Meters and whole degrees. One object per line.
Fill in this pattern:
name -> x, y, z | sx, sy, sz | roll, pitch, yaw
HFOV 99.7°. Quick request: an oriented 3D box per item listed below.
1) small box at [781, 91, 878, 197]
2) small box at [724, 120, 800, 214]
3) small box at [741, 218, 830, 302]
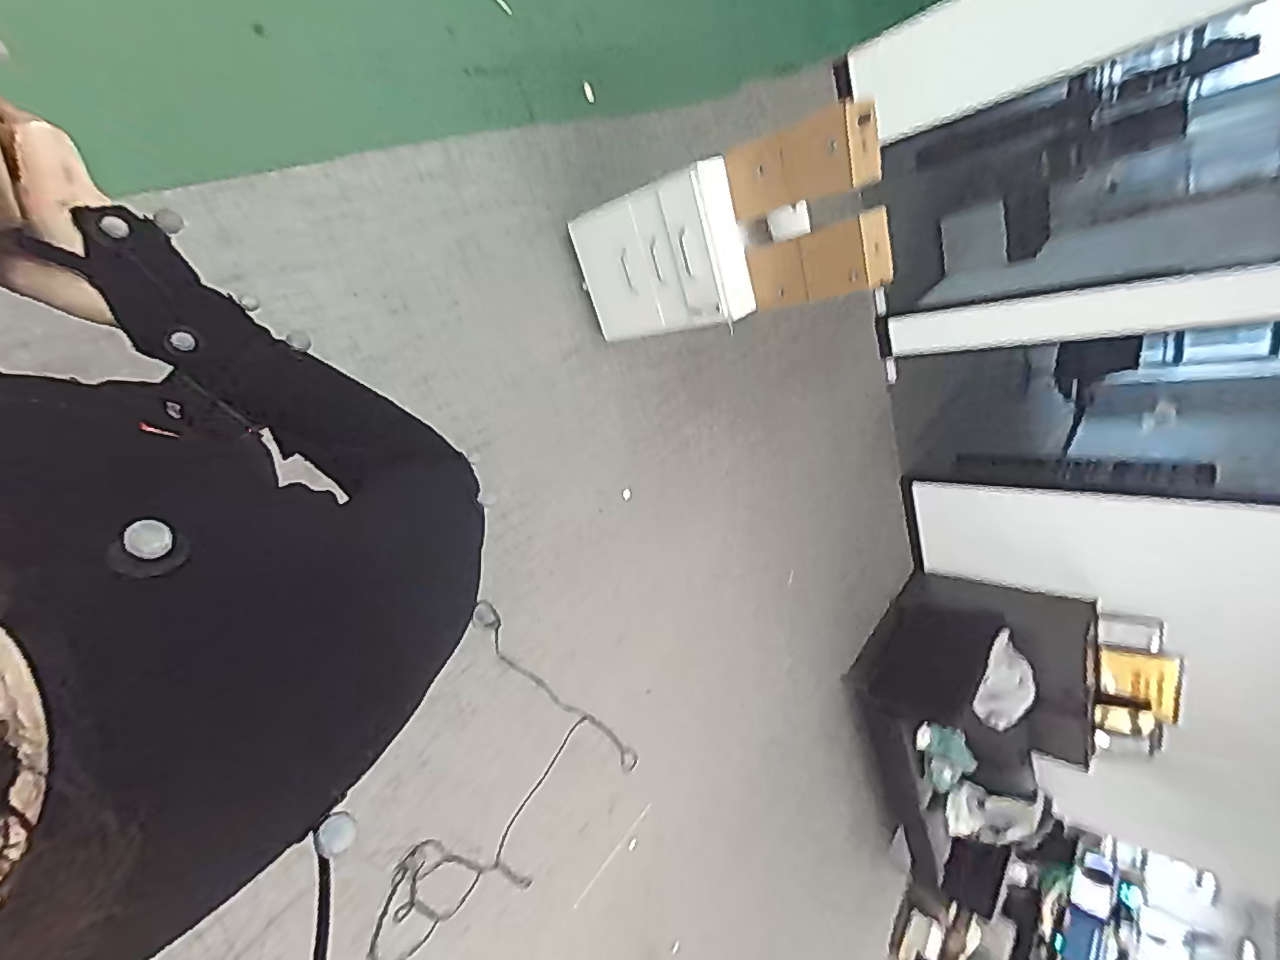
small box -> 0.460, -0.816, 1.321 | 0.168, 0.176, 0.179 | -36, 121, -36
small box -> 0.342, -0.830, 1.436 | 0.168, 0.176, 0.179 | -35, 119, -36
small box -> 0.413, -0.616, 1.535 | 0.168, 0.176, 0.179 | -37, 117, -37
